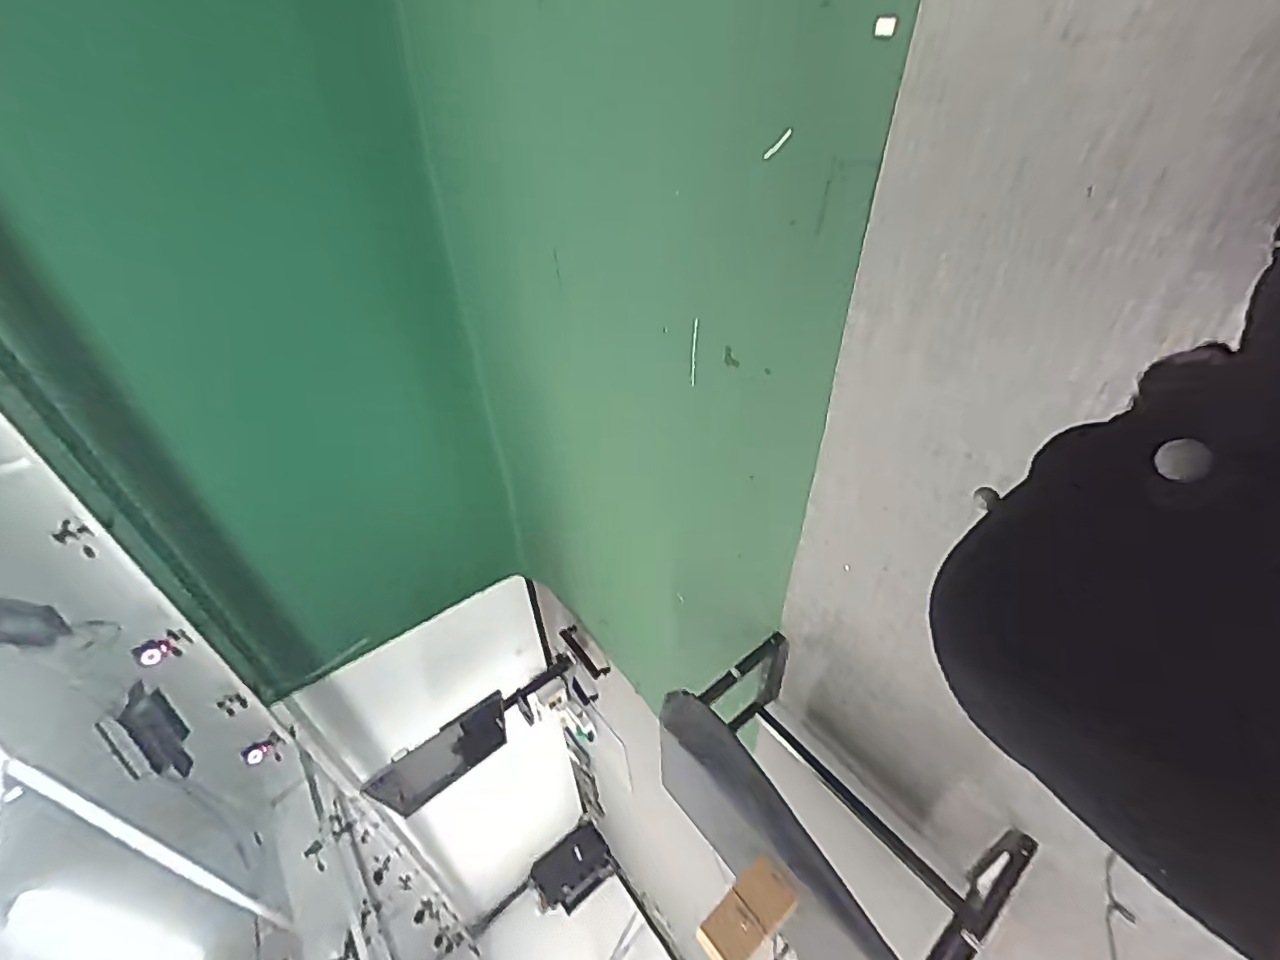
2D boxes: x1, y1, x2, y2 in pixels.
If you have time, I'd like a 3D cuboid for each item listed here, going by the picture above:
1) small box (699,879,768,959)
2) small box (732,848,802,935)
[{"bbox_3d":[0.321,1.534,1.863,0.168,0.176,0.179,36,142,38],"label":"small box"},{"bbox_3d":[0.449,1.466,1.938,0.179,0.176,0.168,39,145,39],"label":"small box"}]
